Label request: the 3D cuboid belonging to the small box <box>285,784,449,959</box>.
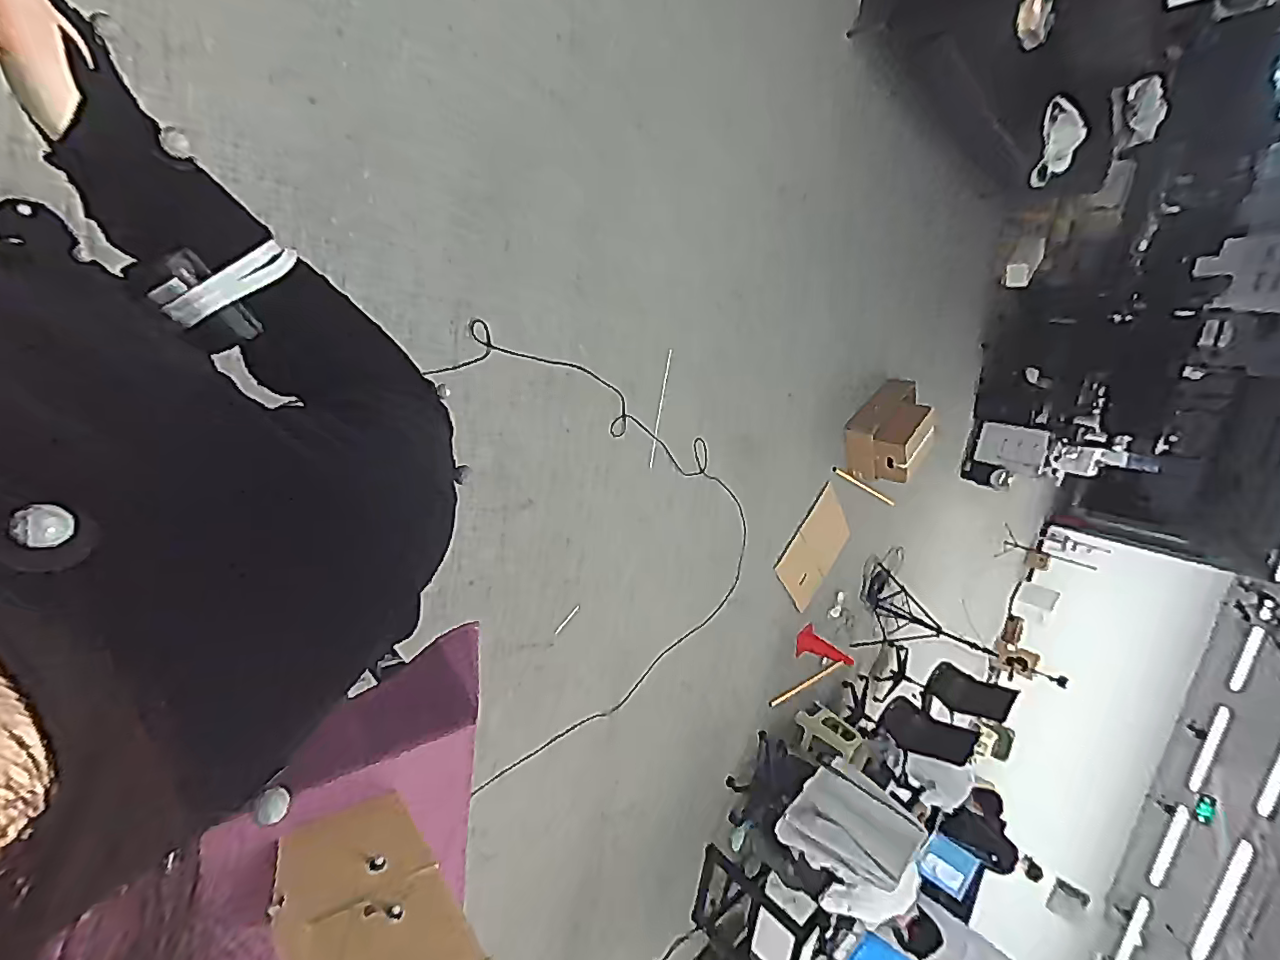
[{"bbox_3d":[-0.425,0.616,0.839,0.179,0.176,0.168,0,105,-45],"label":"small box"}]
